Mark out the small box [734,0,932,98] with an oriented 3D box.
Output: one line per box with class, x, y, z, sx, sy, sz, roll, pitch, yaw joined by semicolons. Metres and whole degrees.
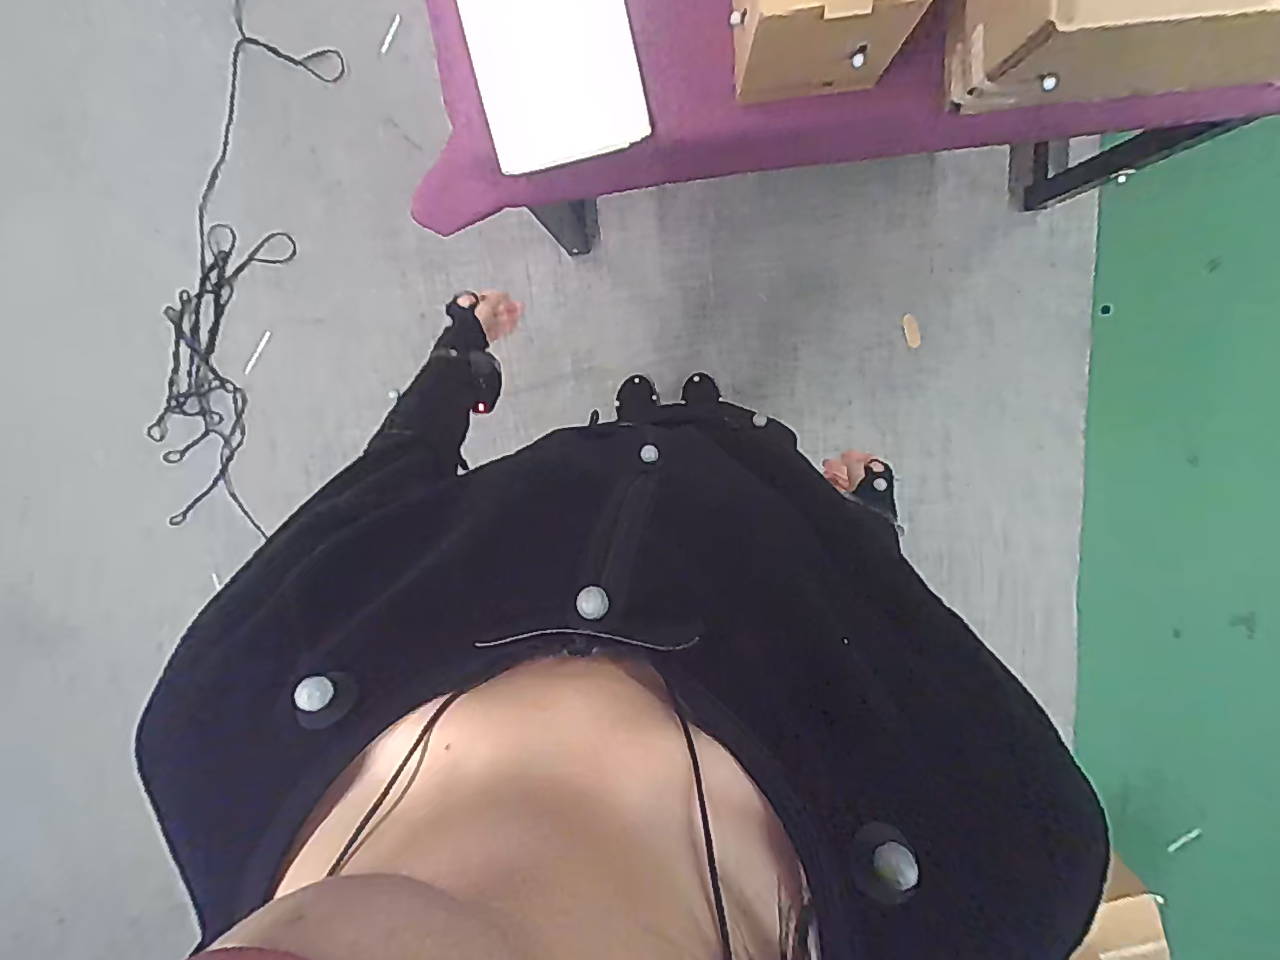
small box;0.193;-0.536;0.570;0.168;0.176;0.179;-4;100;3
